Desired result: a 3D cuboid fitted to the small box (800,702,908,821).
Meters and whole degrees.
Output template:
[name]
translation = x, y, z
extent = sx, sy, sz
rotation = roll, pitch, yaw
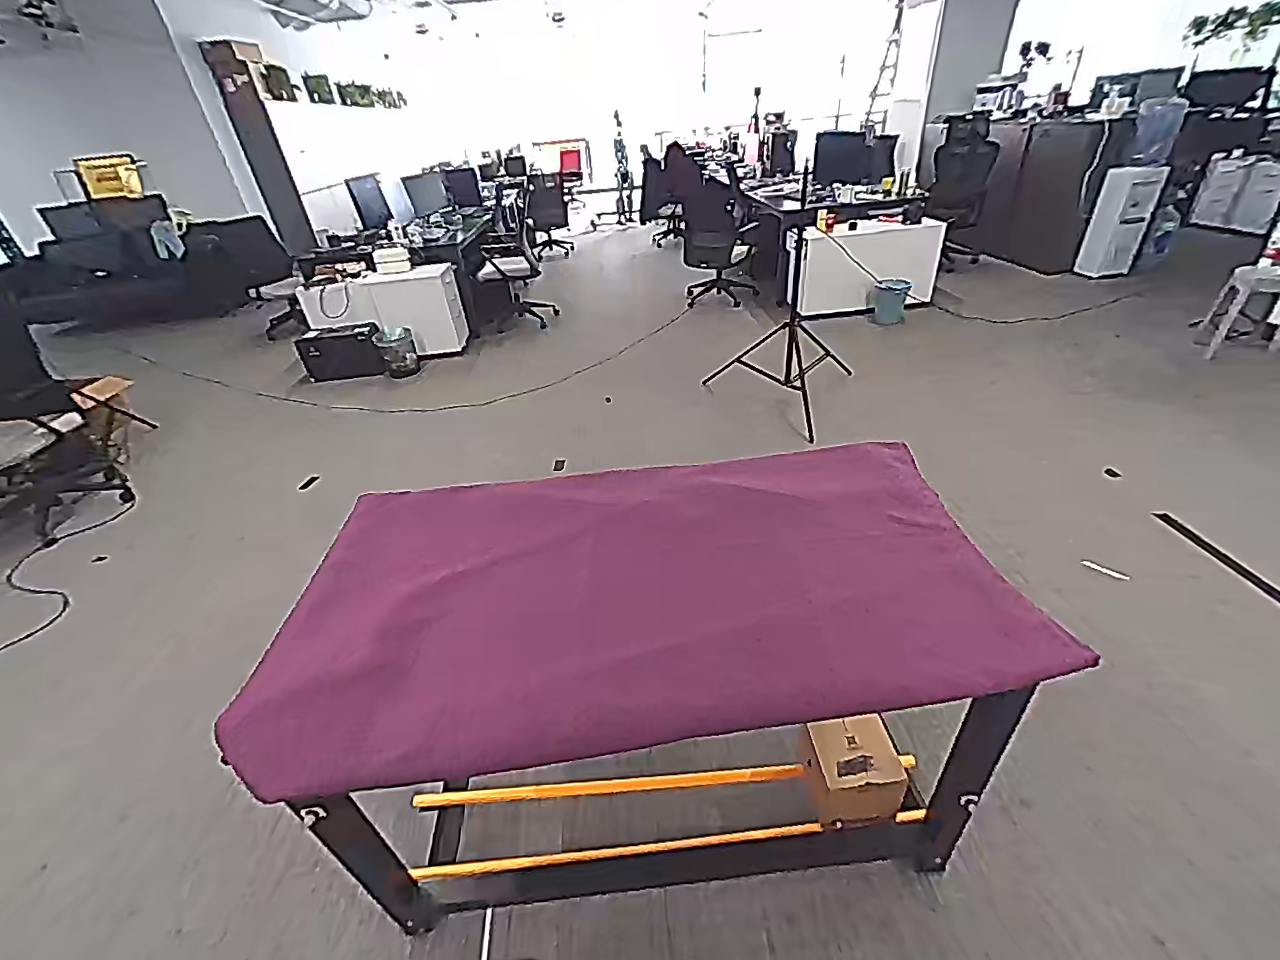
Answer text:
[small box]
translation = 0.459, 0.621, 1.188
extent = 0.168, 0.176, 0.179
rotation = -7, 33, 0
